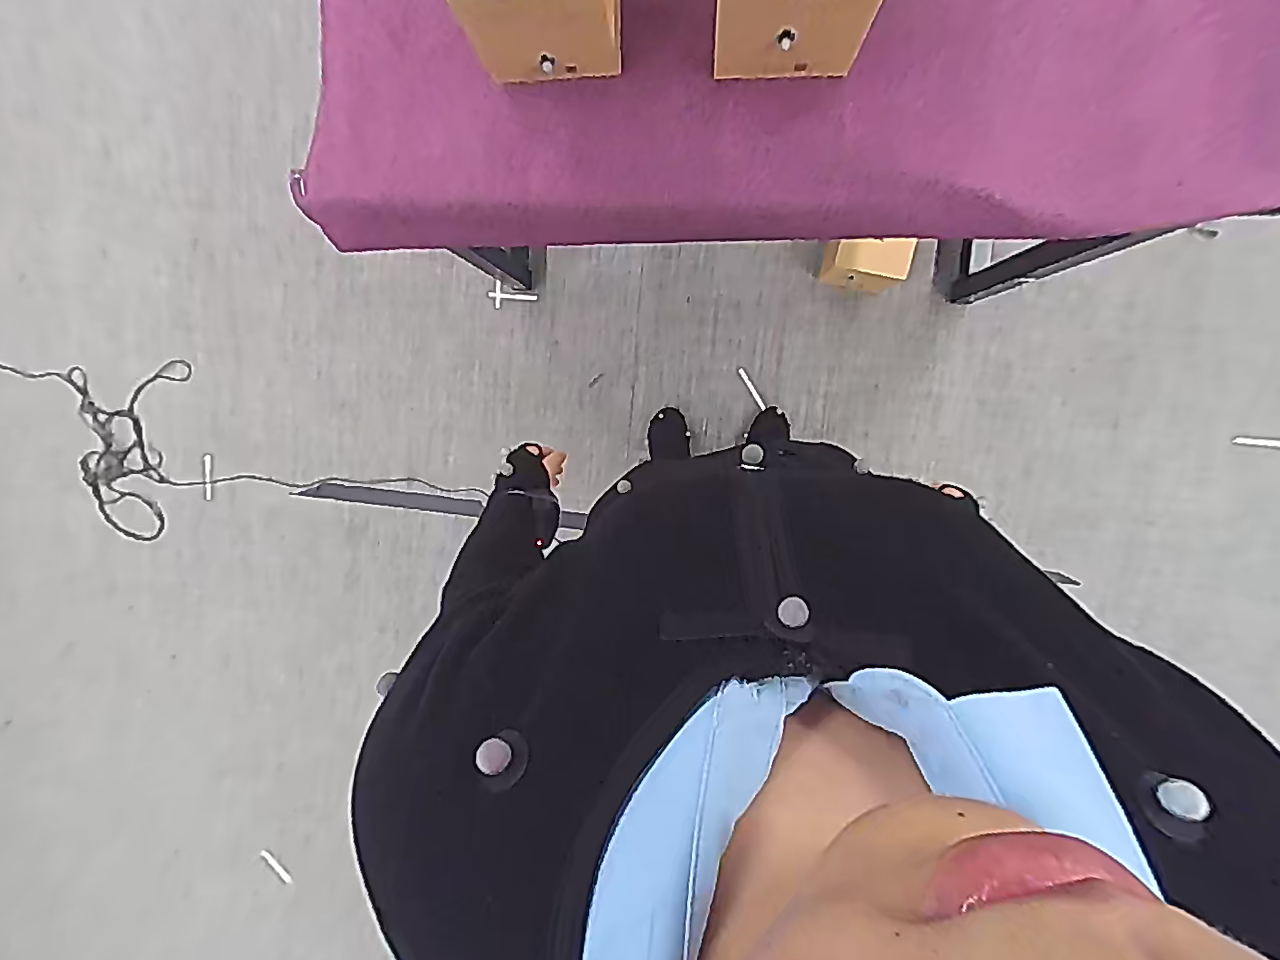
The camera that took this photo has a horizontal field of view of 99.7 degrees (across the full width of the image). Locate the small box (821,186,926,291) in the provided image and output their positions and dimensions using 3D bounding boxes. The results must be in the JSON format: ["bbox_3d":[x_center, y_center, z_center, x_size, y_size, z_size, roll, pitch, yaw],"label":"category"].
[{"bbox_3d":[0.546,-0.567,1.296,0.168,0.176,0.179,13,99,4],"label":"small box"}]

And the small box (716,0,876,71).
[{"bbox_3d":[0.173,-0.582,0.587,0.168,0.176,0.179,3,98,4],"label":"small box"}]
